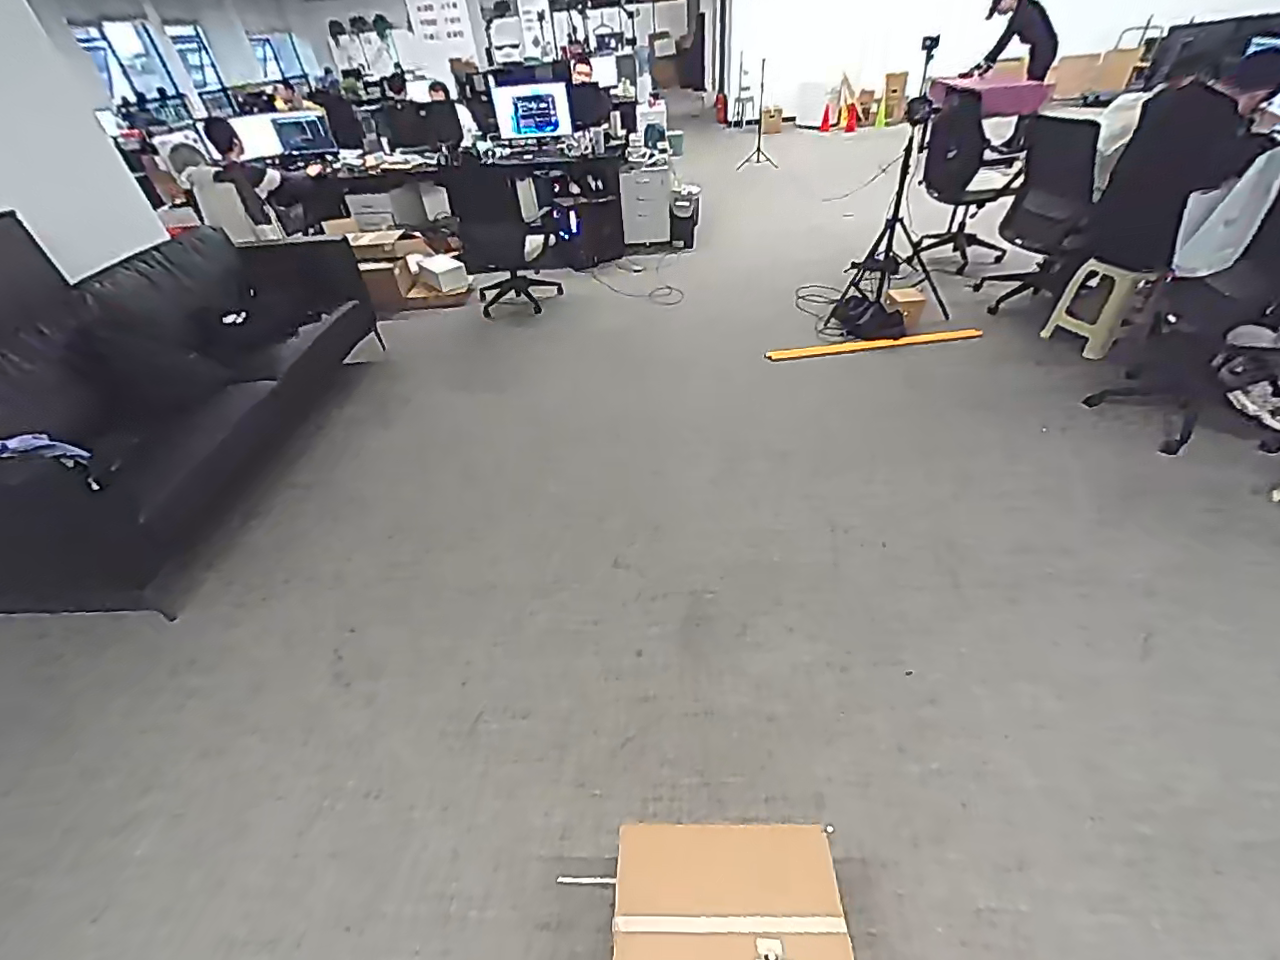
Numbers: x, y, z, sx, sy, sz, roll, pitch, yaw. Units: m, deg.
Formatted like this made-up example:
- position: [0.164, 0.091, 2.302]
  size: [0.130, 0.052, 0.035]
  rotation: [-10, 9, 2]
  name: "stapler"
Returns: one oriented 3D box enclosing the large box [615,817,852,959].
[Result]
- position: [0.165, 0.883, 1.046]
  size: [0.408, 0.320, 0.320]
  rotation: [-2, 40, 4]
  name: "large box"
